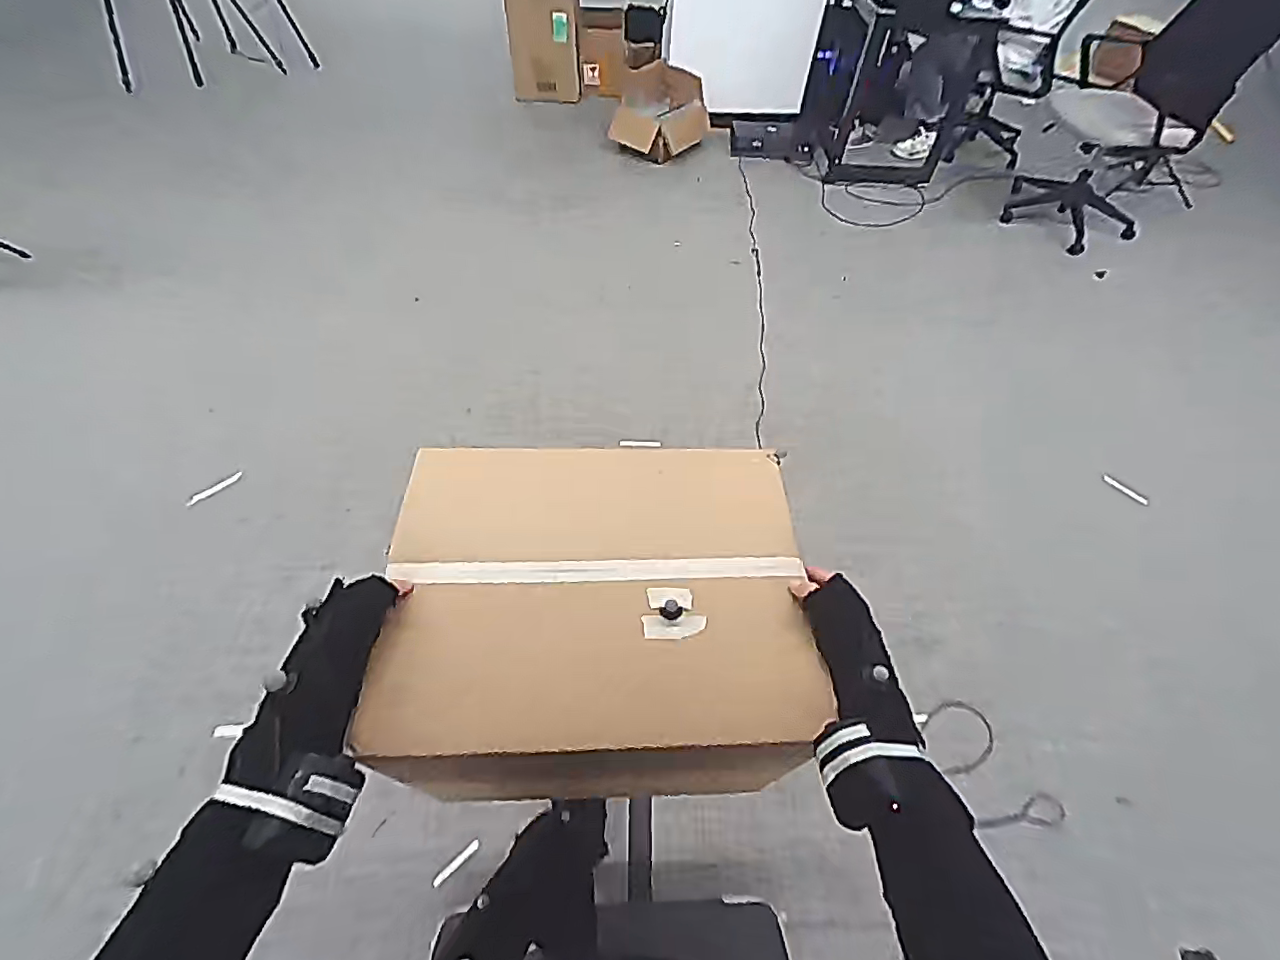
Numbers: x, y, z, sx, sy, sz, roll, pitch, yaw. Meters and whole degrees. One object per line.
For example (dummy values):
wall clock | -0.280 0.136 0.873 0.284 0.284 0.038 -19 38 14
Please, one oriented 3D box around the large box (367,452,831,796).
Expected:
large box | -0.046 0.180 0.663 0.408 0.320 0.320 0 53 -4
